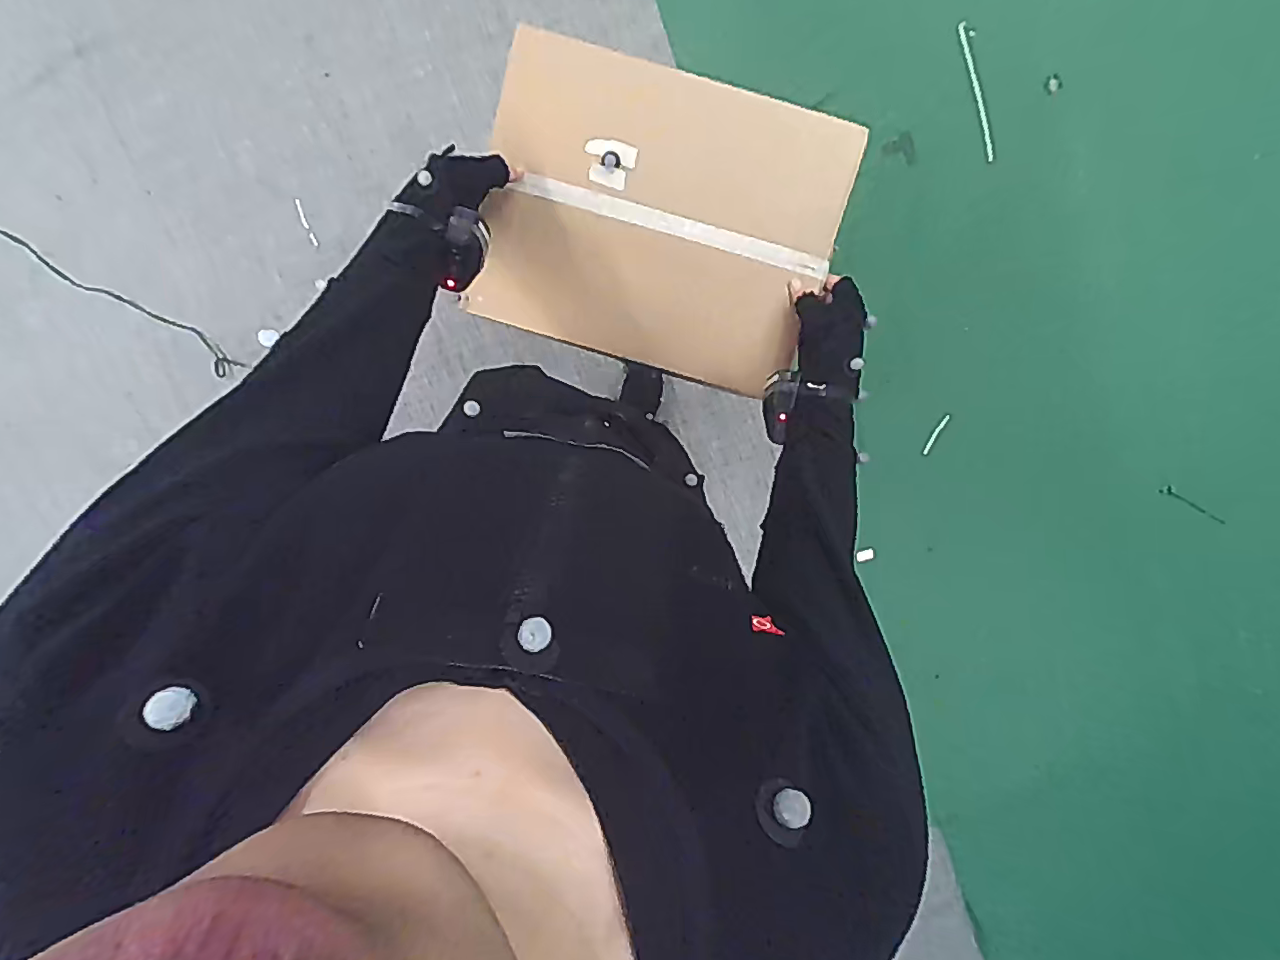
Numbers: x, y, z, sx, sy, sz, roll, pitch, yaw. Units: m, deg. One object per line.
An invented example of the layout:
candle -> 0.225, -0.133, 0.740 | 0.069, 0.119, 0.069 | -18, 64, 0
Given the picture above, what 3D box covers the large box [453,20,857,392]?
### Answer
large box -> 0.016, -0.332, 0.758 | 0.408, 0.320, 0.320 | 17, 102, -1
